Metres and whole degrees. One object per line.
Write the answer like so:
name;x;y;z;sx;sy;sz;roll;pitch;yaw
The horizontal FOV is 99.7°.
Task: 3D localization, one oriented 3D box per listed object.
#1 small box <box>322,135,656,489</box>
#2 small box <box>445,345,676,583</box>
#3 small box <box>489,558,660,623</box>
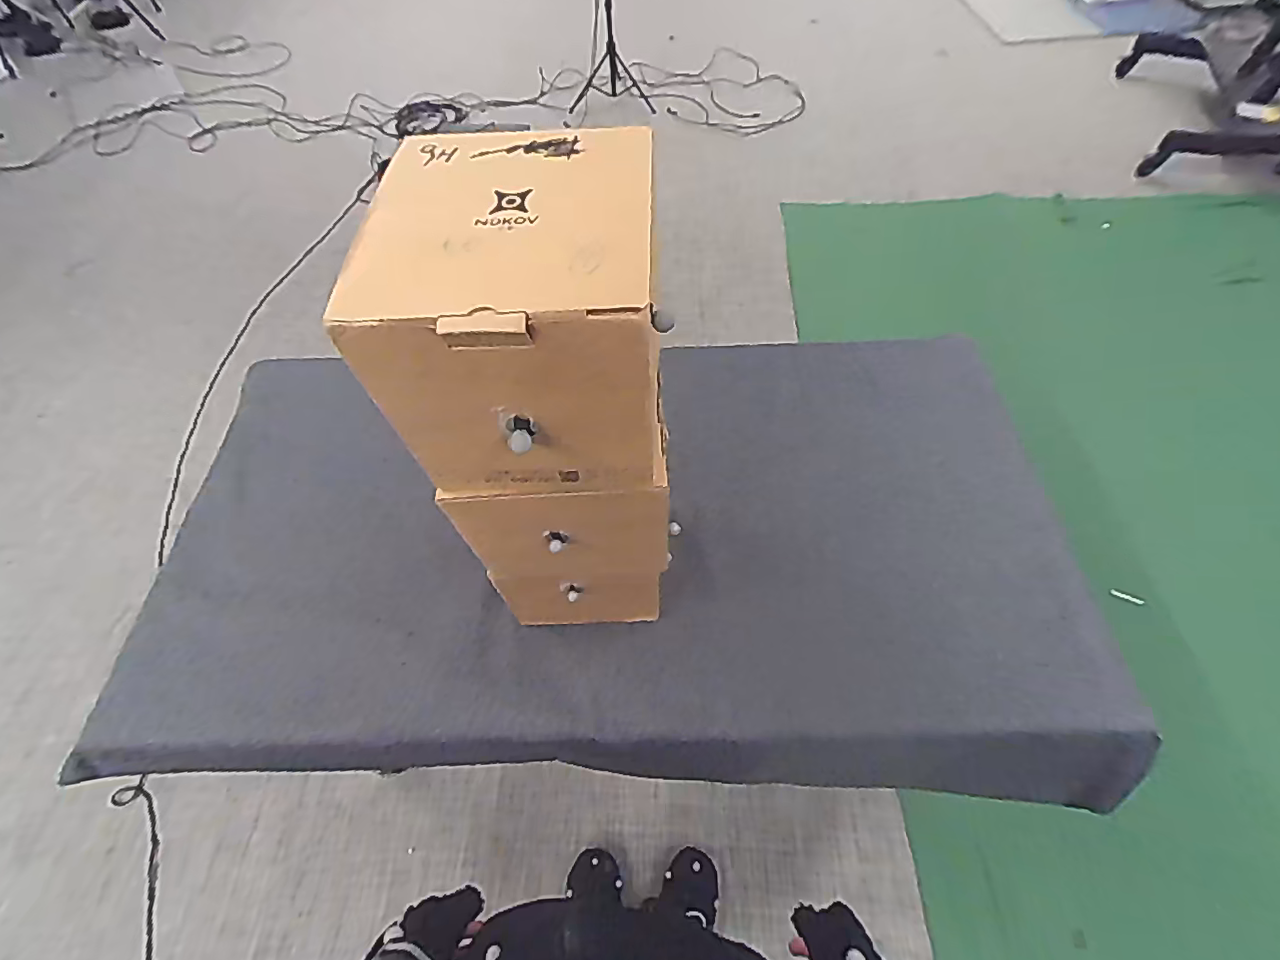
small box;-0.074;-0.104;0.378;0.168;0.176;0.179;0;60;3
small box;-0.064;-0.012;0.513;0.179;0.176;0.168;-5;59;-1
small box;-0.066;0.069;0.656;0.179;0.176;0.168;-2;59;0
